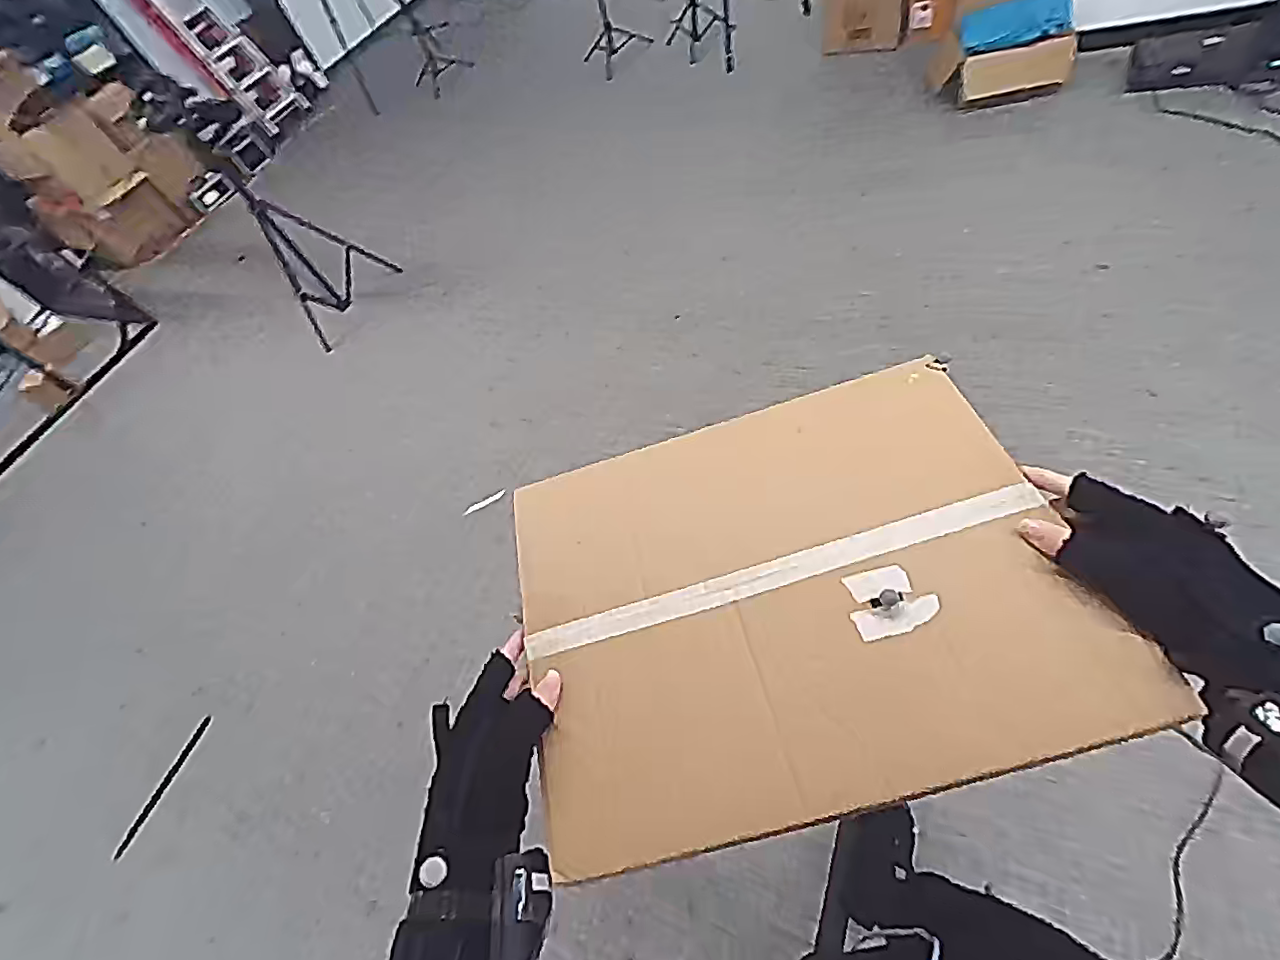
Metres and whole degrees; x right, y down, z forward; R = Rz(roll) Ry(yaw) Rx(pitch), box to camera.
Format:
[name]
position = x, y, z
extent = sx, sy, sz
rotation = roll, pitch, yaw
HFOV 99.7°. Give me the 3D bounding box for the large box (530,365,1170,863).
[large box]
position = 0.143, 0.151, 0.552
extent = 0.408, 0.320, 0.320
rotation = -17, 56, 4
